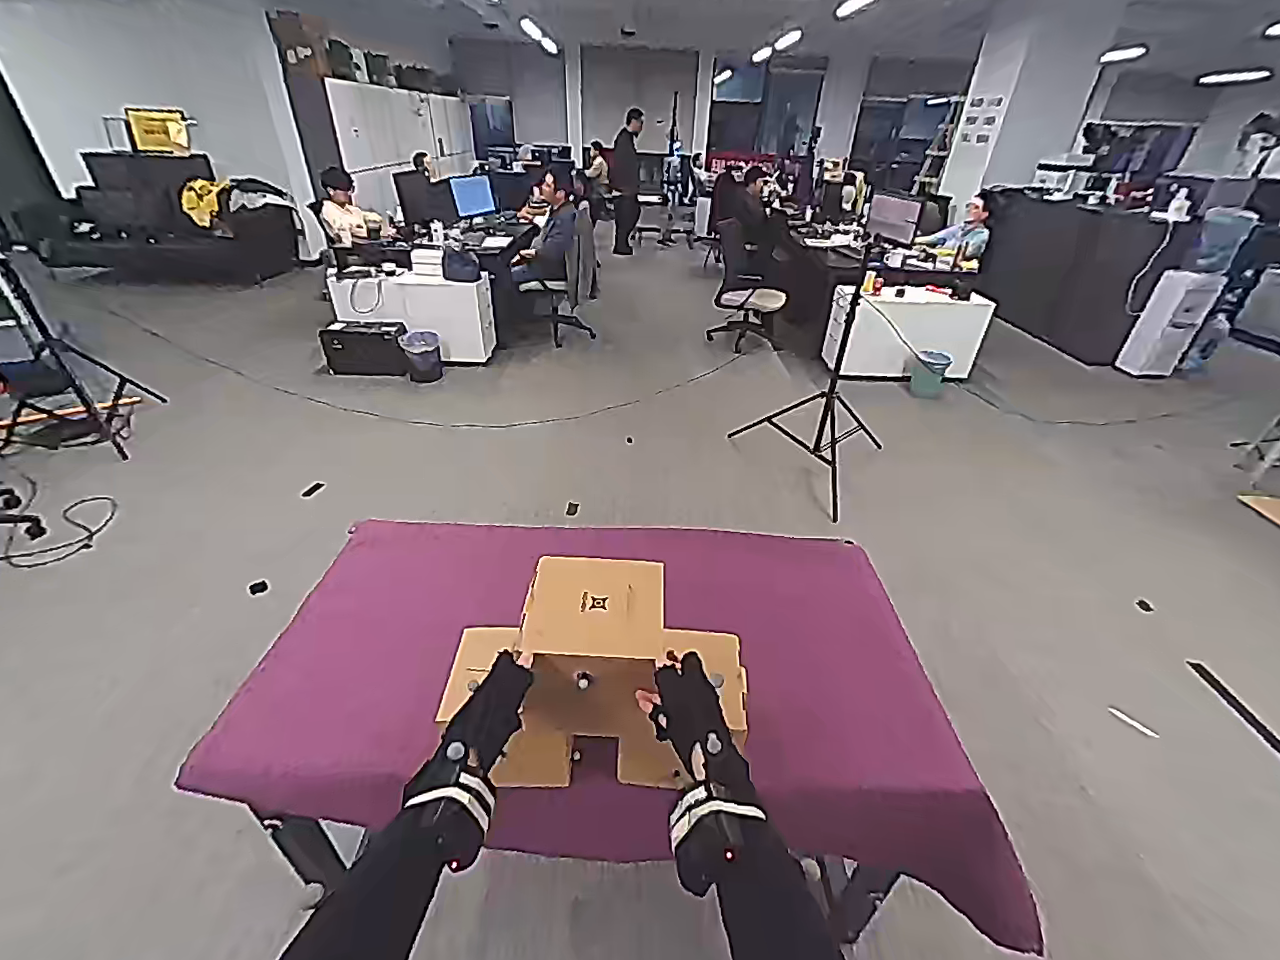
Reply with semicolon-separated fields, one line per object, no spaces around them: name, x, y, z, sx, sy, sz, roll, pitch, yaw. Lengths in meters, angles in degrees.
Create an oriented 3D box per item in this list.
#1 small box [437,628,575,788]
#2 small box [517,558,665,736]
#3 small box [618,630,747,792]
small box;-0.188;0.350;0.833;0.179;0.176;0.168;0;32;-1
small box;-0.058;0.226;0.737;0.179;0.176;0.168;3;34;0
small box;0.062;0.358;0.841;0.179;0.176;0.168;4;32;3
